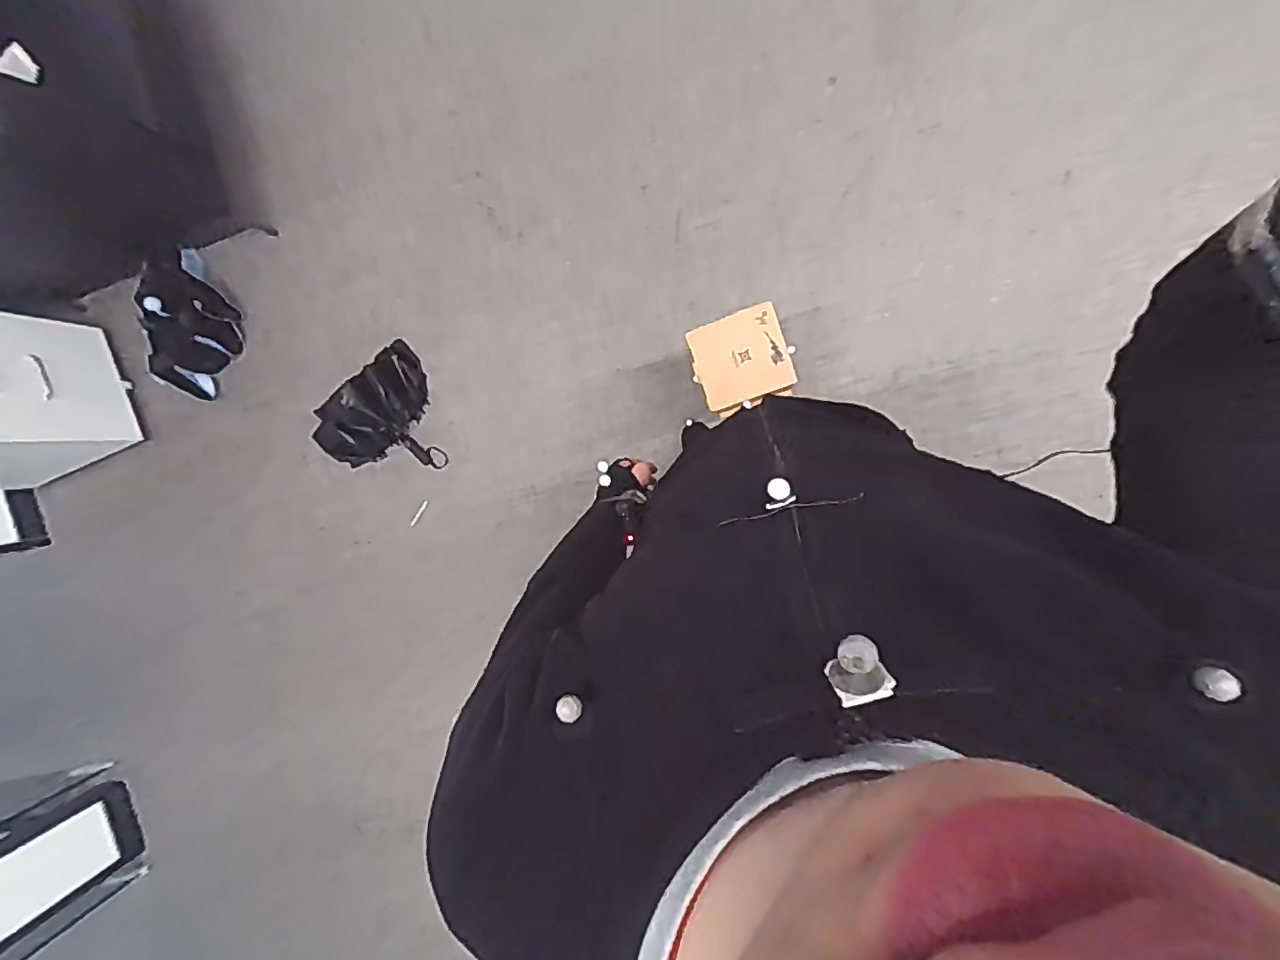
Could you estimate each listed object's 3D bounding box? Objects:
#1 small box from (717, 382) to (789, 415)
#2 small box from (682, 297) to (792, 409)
[{"bbox_3d":[0.242,-0.261,1.275,0.168,0.176,0.179,-18,92,13],"label":"small box"},{"bbox_3d":[0.204,-0.250,1.116,0.179,0.176,0.168,-18,91,14],"label":"small box"}]
